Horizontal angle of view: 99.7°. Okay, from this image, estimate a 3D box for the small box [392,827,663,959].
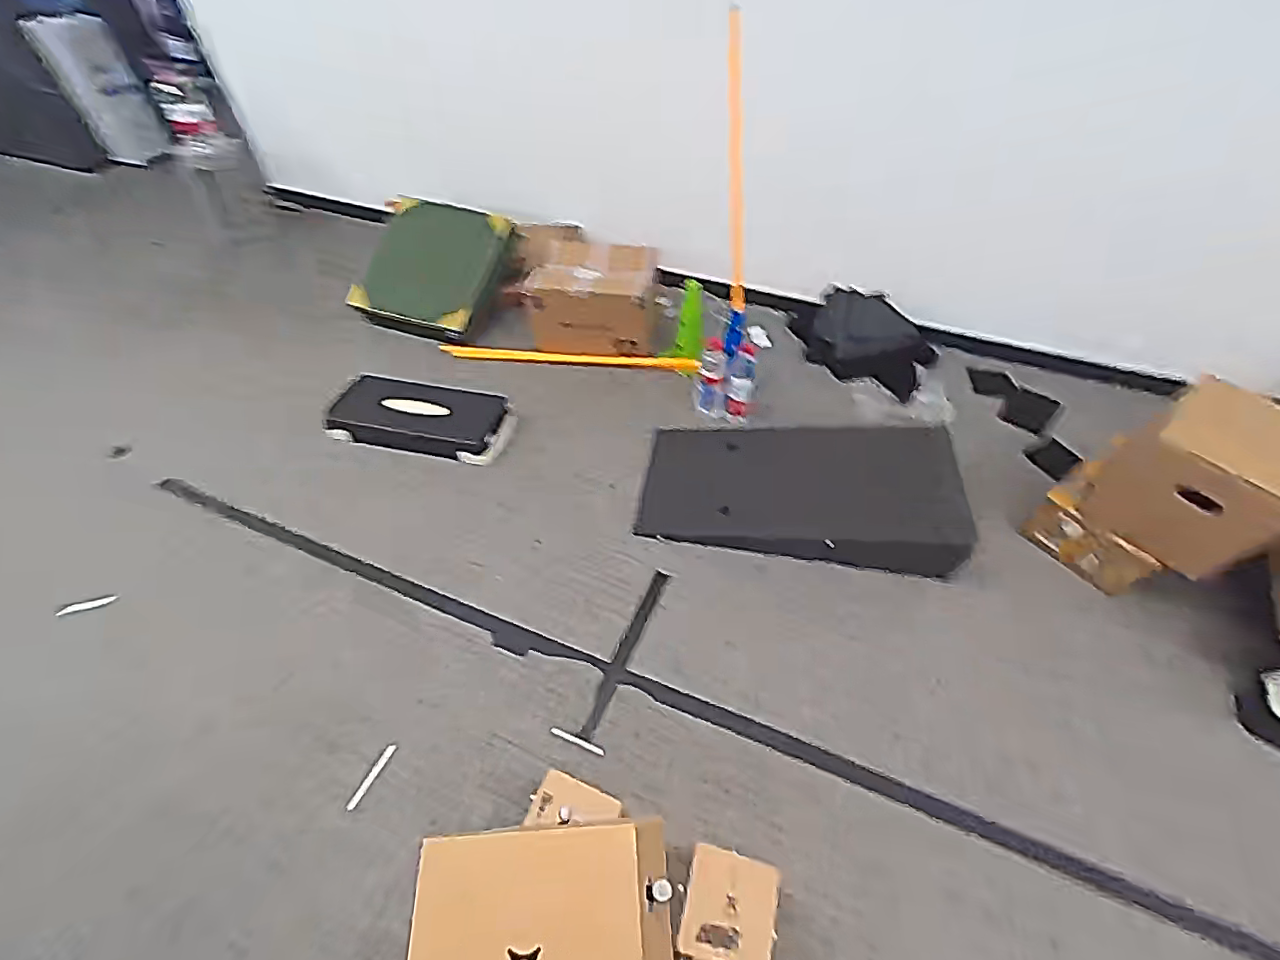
[{"bbox_3d":[-0.073,0.371,0.411,0.168,0.176,0.179,-7,59,5],"label":"small box"}]

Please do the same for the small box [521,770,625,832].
[{"bbox_3d":[-0.142,0.748,1.137,0.179,0.176,0.168,20,52,15],"label":"small box"}]

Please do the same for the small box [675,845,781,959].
[{"bbox_3d":[0.167,0.849,1.052,0.168,0.176,0.179,14,50,11],"label":"small box"}]
